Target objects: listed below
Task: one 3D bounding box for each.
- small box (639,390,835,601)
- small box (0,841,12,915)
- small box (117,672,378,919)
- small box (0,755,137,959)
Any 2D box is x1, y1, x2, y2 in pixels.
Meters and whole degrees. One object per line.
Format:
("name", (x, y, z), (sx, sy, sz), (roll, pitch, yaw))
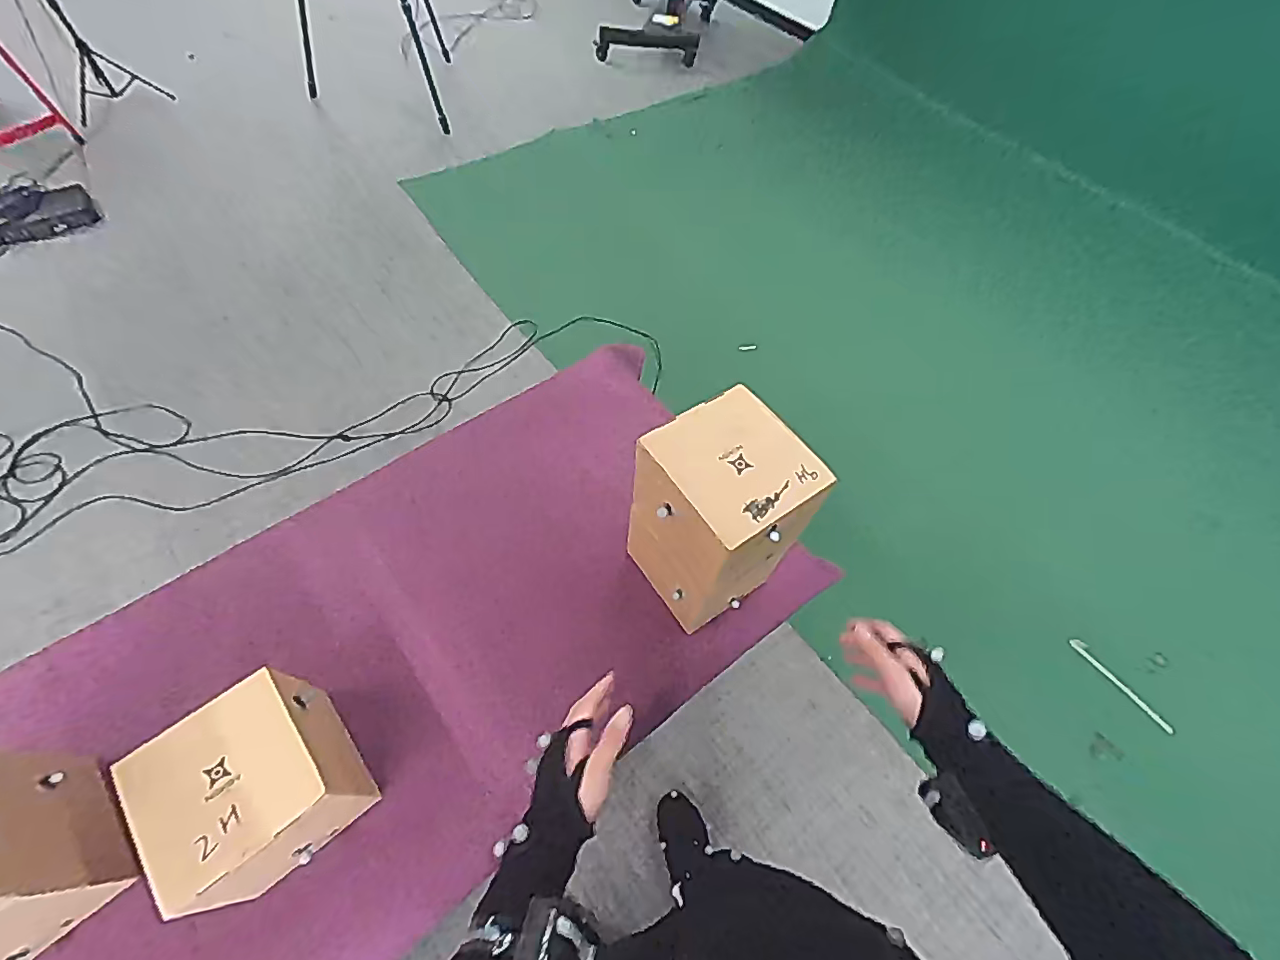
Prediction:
("small box", (0.108, 0.024, 0.696), (0.168, 0.176, 0.179), (-30, 64, -18))
("small box", (-0.707, 0.350, 0.449), (0.168, 0.176, 0.179), (-37, 68, -22))
("small box", (-0.451, 0.368, 0.646), (0.168, 0.176, 0.179), (-35, 67, -22))
("small box", (-0.716, 0.436, 0.588), (0.168, 0.176, 0.179), (-36, 68, -22))
